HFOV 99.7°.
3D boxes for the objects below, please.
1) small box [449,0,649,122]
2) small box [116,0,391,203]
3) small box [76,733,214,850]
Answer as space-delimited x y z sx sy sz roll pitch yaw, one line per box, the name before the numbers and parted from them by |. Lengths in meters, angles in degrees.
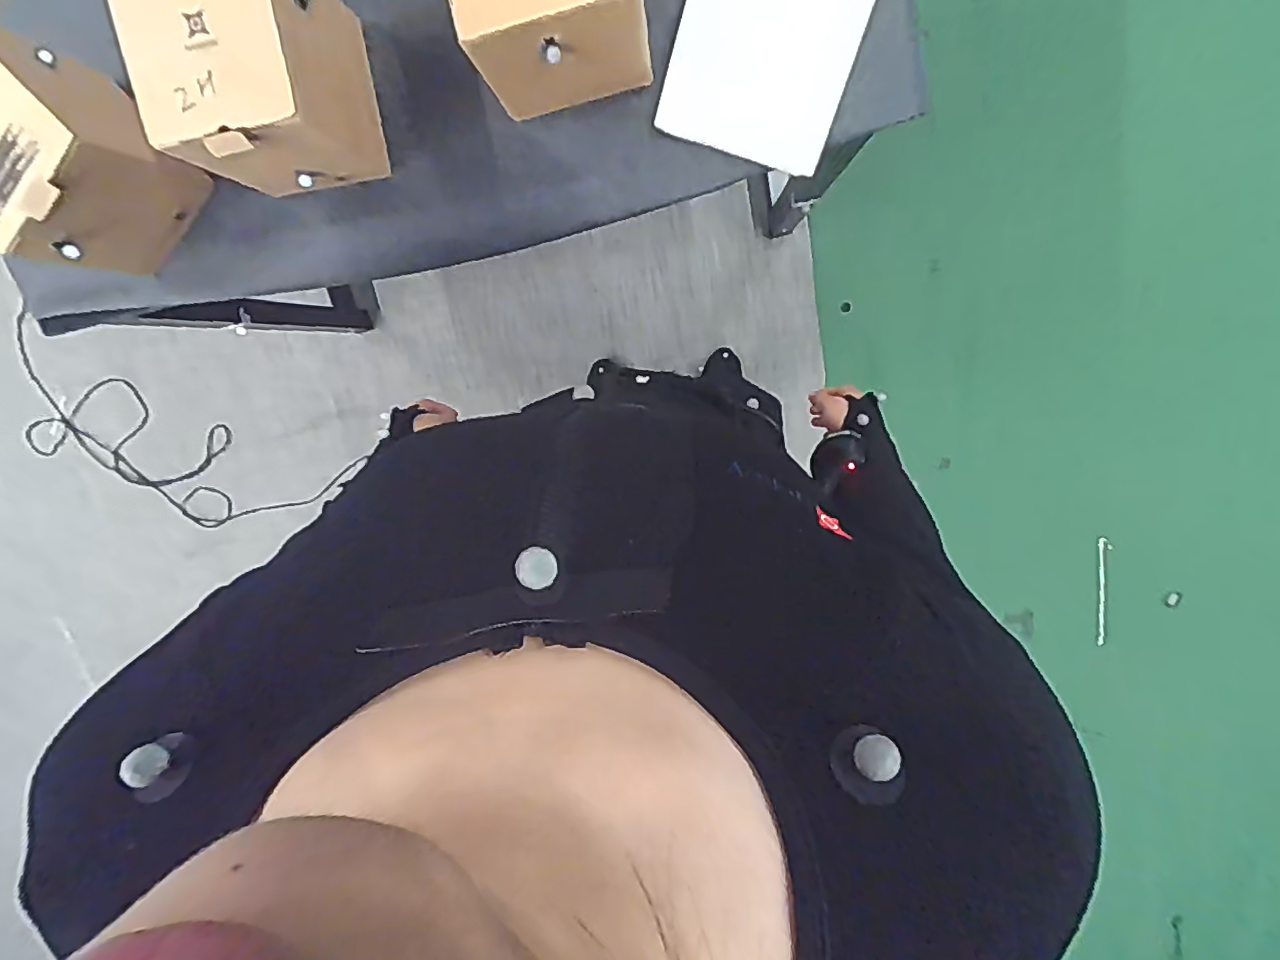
small box | -0.090 -0.506 0.552 0.179 0.176 0.168 -10 101 9
small box | -0.410 -0.436 0.600 0.168 0.176 0.179 -7 102 8
small box | -1.286 0.811 1.421 0.168 0.176 0.179 -28 99 10
